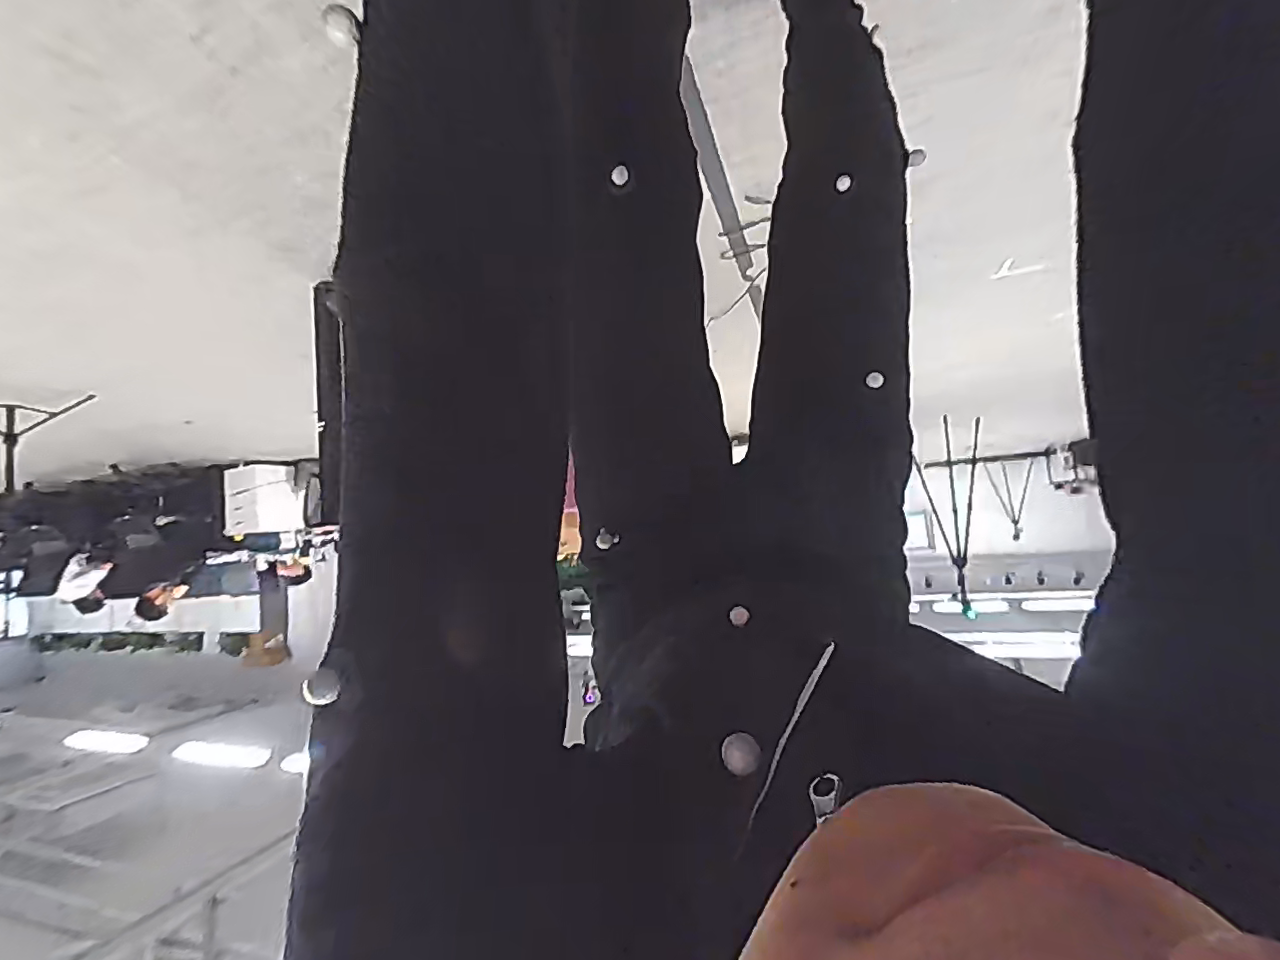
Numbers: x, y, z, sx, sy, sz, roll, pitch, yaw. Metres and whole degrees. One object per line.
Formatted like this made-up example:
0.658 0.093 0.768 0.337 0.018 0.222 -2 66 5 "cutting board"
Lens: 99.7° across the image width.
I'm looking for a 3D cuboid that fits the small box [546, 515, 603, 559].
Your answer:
-0.275 0.231 2.240 0.179 0.176 0.168 -7 175 29 "small box"
